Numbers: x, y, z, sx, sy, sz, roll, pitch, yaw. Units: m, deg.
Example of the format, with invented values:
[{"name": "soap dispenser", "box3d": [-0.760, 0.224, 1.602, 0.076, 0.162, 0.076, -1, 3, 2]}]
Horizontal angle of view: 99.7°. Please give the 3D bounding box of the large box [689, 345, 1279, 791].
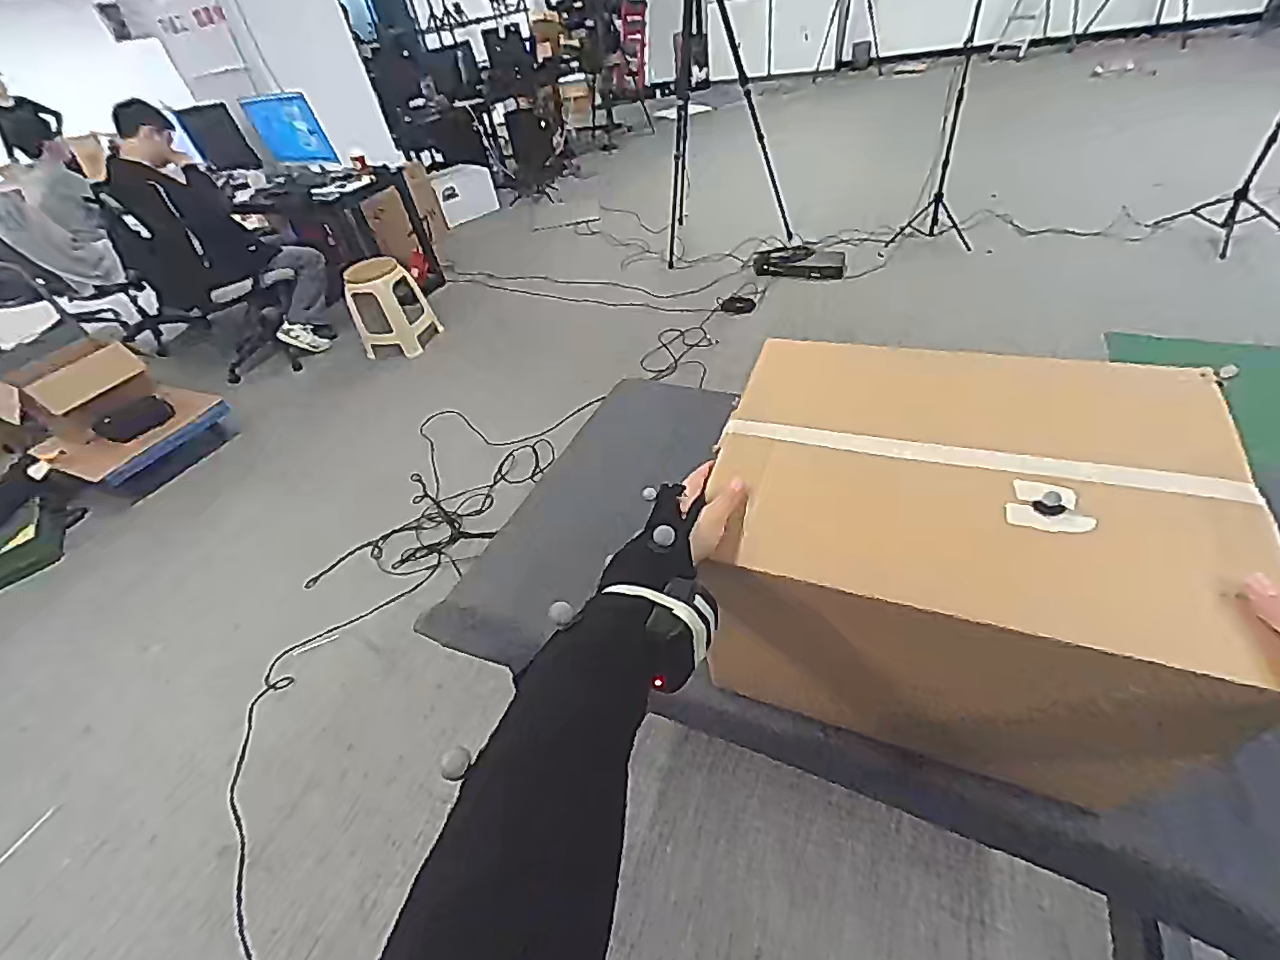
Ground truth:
[{"name": "large box", "box3d": [0.299, 0.078, 0.594, 0.408, 0.320, 0.320, 10, 53, 22]}]
